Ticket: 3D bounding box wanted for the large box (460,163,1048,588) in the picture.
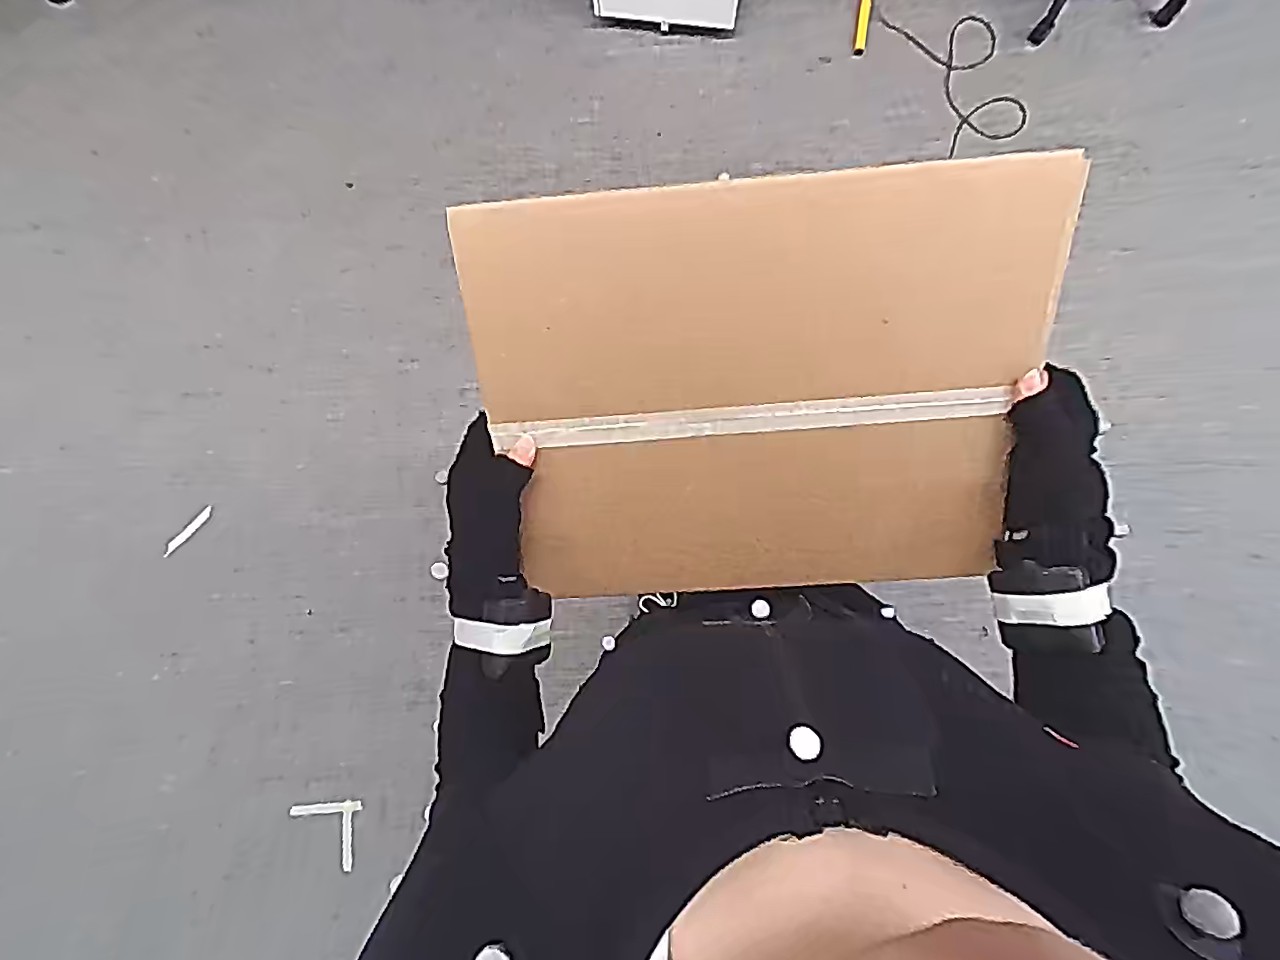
[{"bbox_3d":[0.088,-0.117,0.559,0.408,0.320,0.320,-4,114,3],"label":"large box"}]
